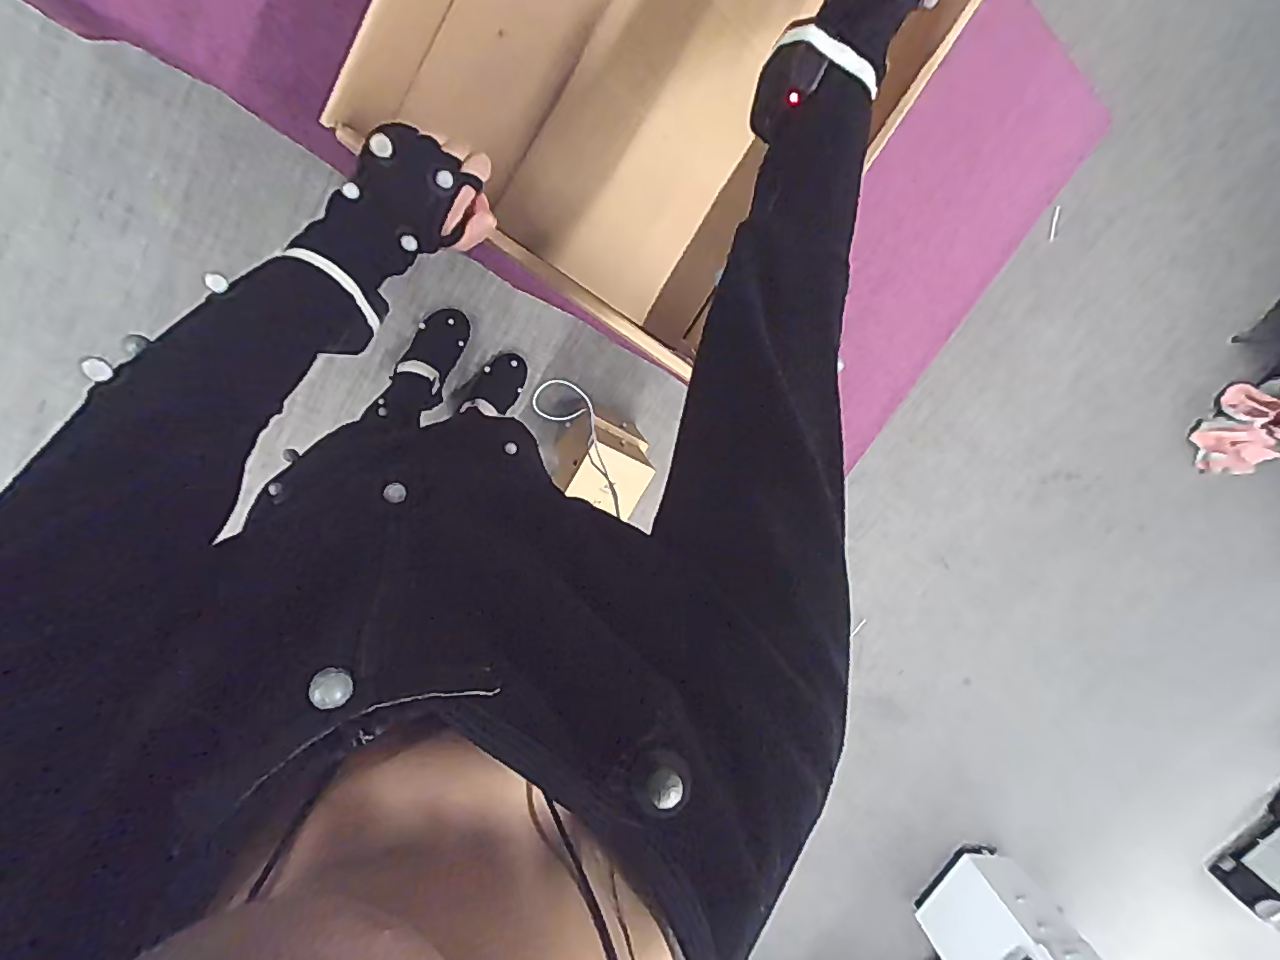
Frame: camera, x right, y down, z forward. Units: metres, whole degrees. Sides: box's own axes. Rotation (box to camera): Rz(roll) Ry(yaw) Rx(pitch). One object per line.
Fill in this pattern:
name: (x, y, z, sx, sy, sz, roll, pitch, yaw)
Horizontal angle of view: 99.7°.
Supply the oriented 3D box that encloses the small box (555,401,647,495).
small box: (-0.111, -0.092, 1.447, 0.179, 0.176, 0.168, 27, 104, -22)
